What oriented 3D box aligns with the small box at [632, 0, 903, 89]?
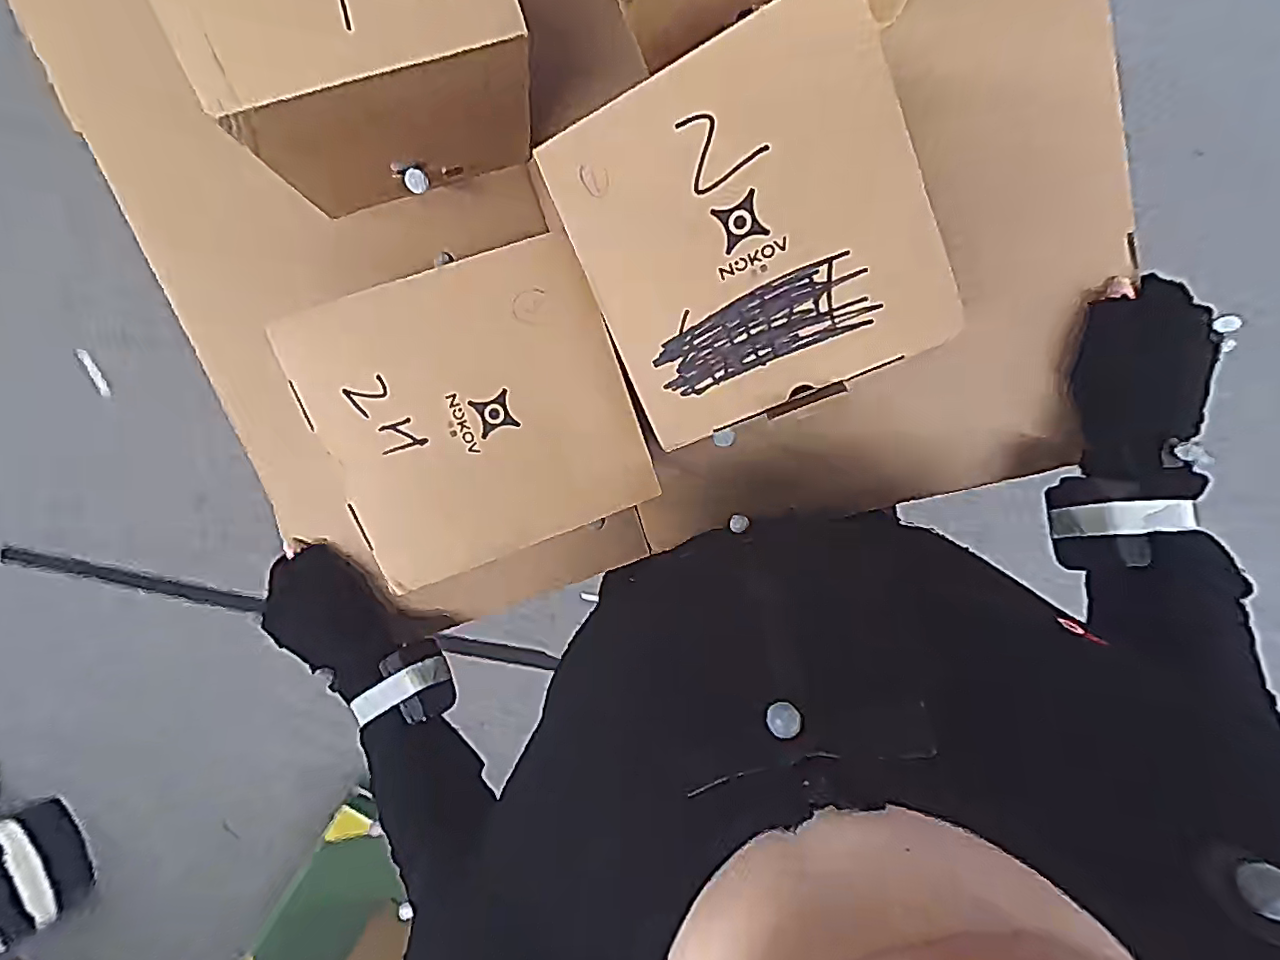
[{"bbox_3d":[0.064,-0.352,0.292,0.168,0.176,0.179,-13,102,15],"label":"small box"}]
